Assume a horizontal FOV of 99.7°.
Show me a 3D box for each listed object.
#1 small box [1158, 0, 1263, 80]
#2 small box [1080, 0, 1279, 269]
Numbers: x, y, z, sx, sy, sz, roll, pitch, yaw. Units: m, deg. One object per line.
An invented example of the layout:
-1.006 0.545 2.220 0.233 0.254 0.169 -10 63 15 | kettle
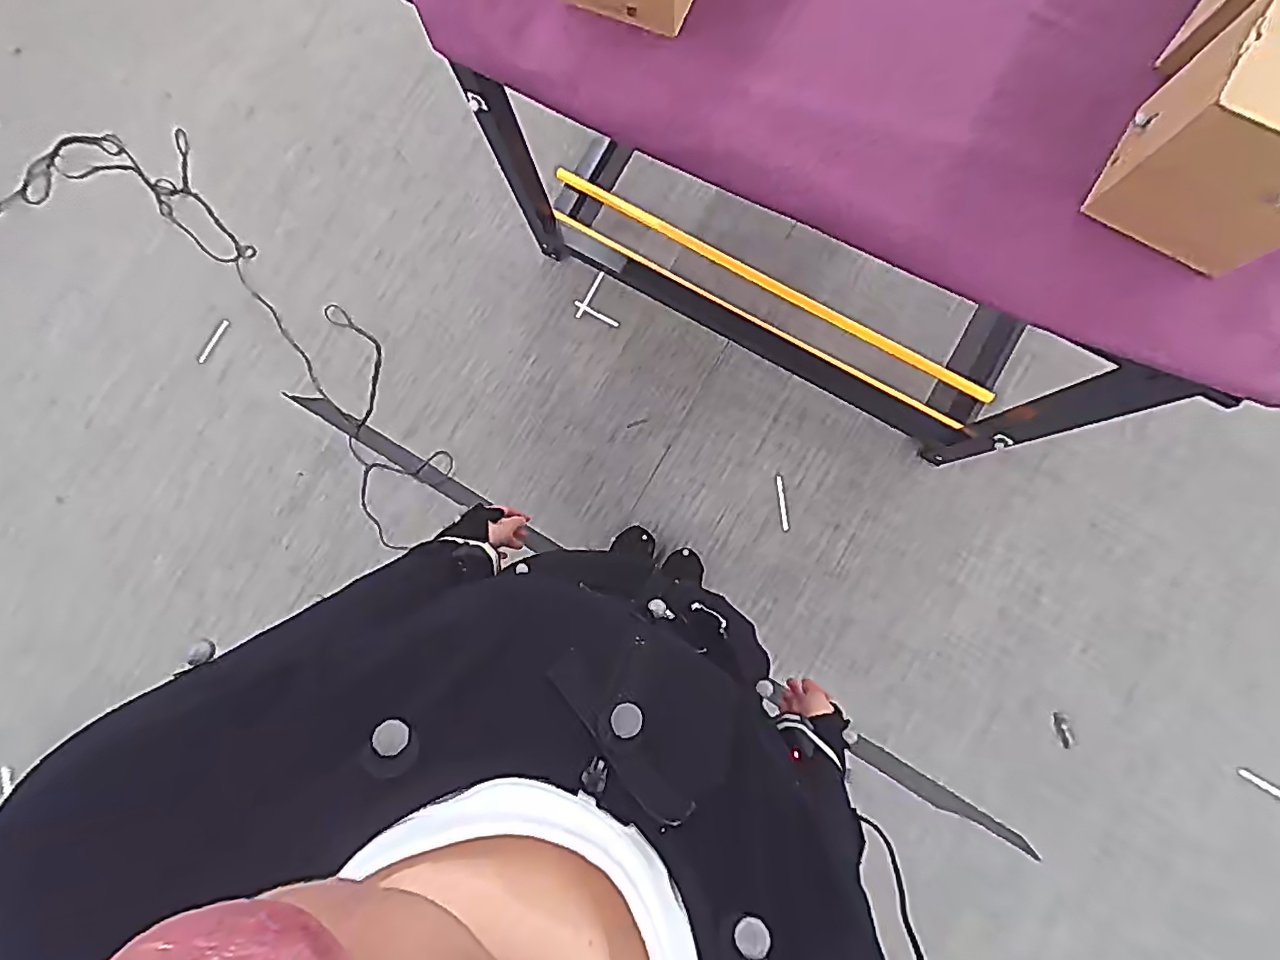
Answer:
0.747 -0.531 0.591 0.179 0.176 0.168 36 89 5 | small box
0.646 -0.359 0.581 0.179 0.176 0.168 32 86 7 | small box
